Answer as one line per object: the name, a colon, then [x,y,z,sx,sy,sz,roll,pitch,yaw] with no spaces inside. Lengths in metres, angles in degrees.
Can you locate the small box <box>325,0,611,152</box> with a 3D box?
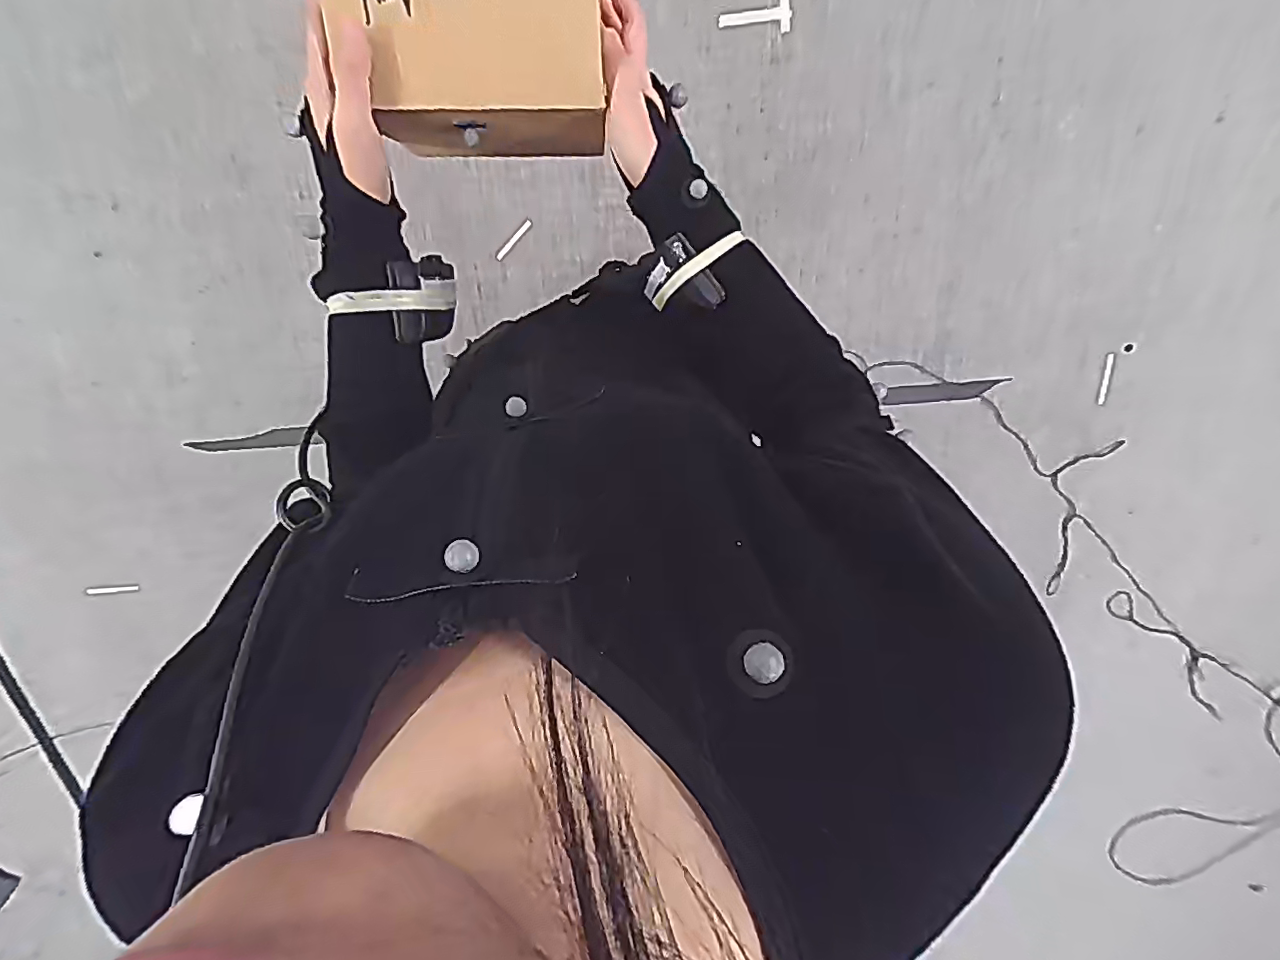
small box: [-0.112,-0.352,0.400,0.179,0.176,0.168,-2,112,-3]

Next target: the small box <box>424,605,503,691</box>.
small box: [-0.514,0.486,1.588,0.179,0.176,0.168,11,108,-7]
